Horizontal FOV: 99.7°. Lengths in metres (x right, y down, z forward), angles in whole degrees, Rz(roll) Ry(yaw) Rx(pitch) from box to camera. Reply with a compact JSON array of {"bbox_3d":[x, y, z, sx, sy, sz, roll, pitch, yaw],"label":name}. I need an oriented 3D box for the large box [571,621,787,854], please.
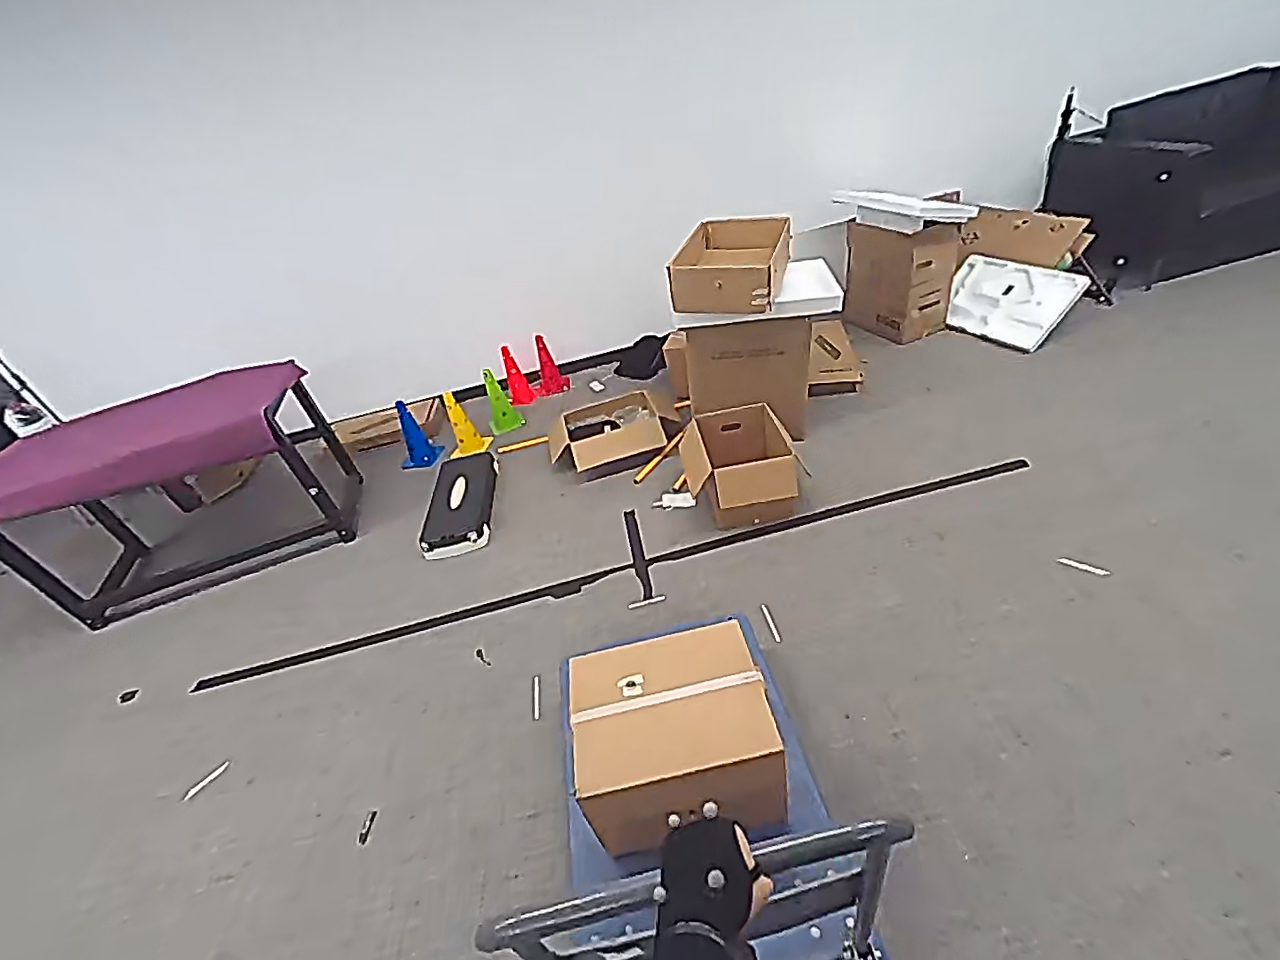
[{"bbox_3d":[0.085,0.583,1.232,0.408,0.320,0.320,-15,35,0],"label":"large box"}]
